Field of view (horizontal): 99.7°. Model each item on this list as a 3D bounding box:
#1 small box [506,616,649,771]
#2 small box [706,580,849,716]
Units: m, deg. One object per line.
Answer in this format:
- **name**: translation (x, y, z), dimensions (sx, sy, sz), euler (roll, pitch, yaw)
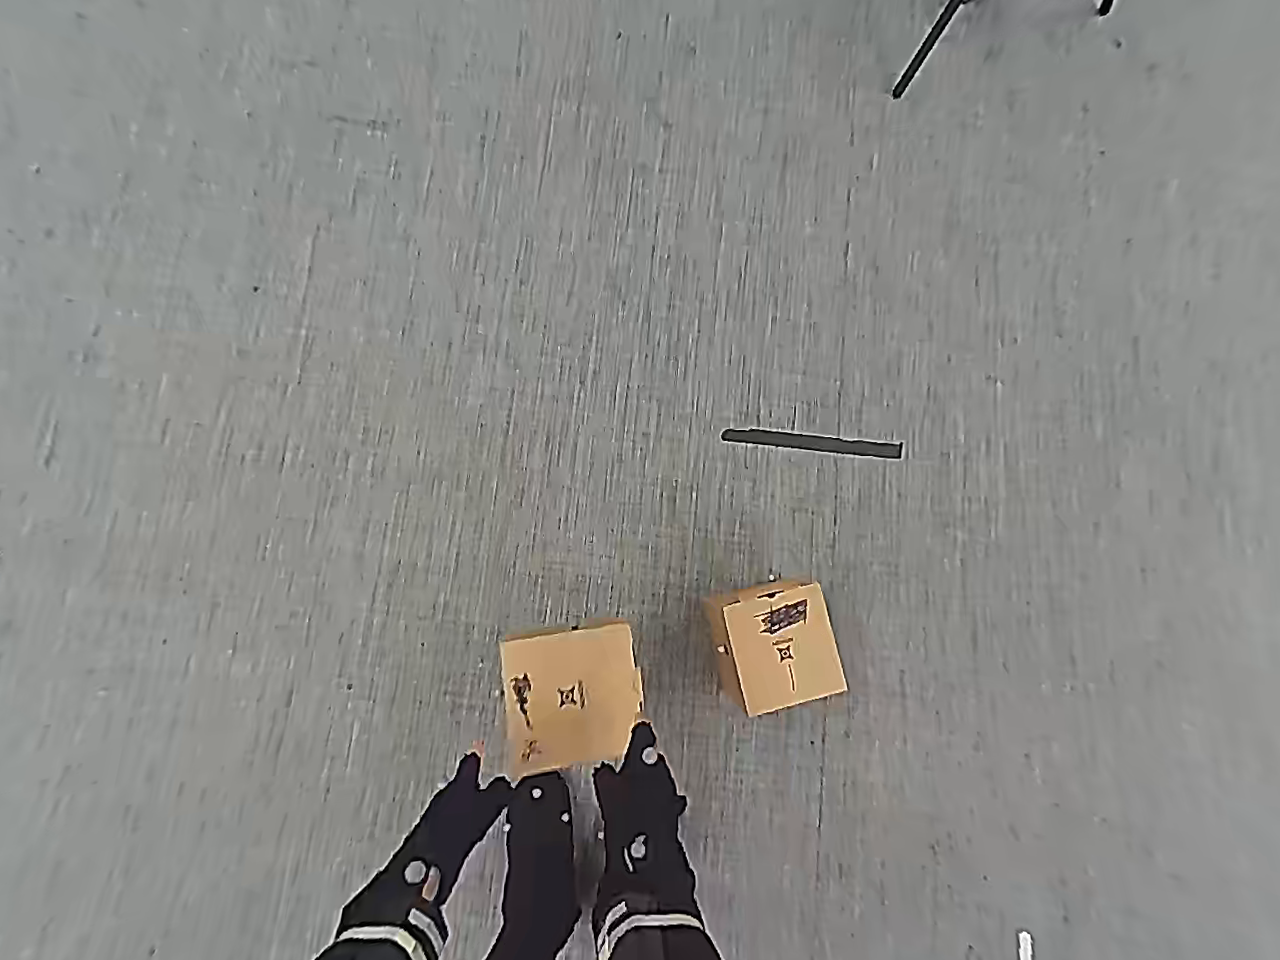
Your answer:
- **small box**: translation (-0.099, 0.295, 0.788), dimensions (0.179, 0.176, 0.168), euler (-6, 79, -13)
- **small box**: translation (0.221, 0.273, 0.919), dimensions (0.168, 0.176, 0.179), euler (-13, 83, -6)
